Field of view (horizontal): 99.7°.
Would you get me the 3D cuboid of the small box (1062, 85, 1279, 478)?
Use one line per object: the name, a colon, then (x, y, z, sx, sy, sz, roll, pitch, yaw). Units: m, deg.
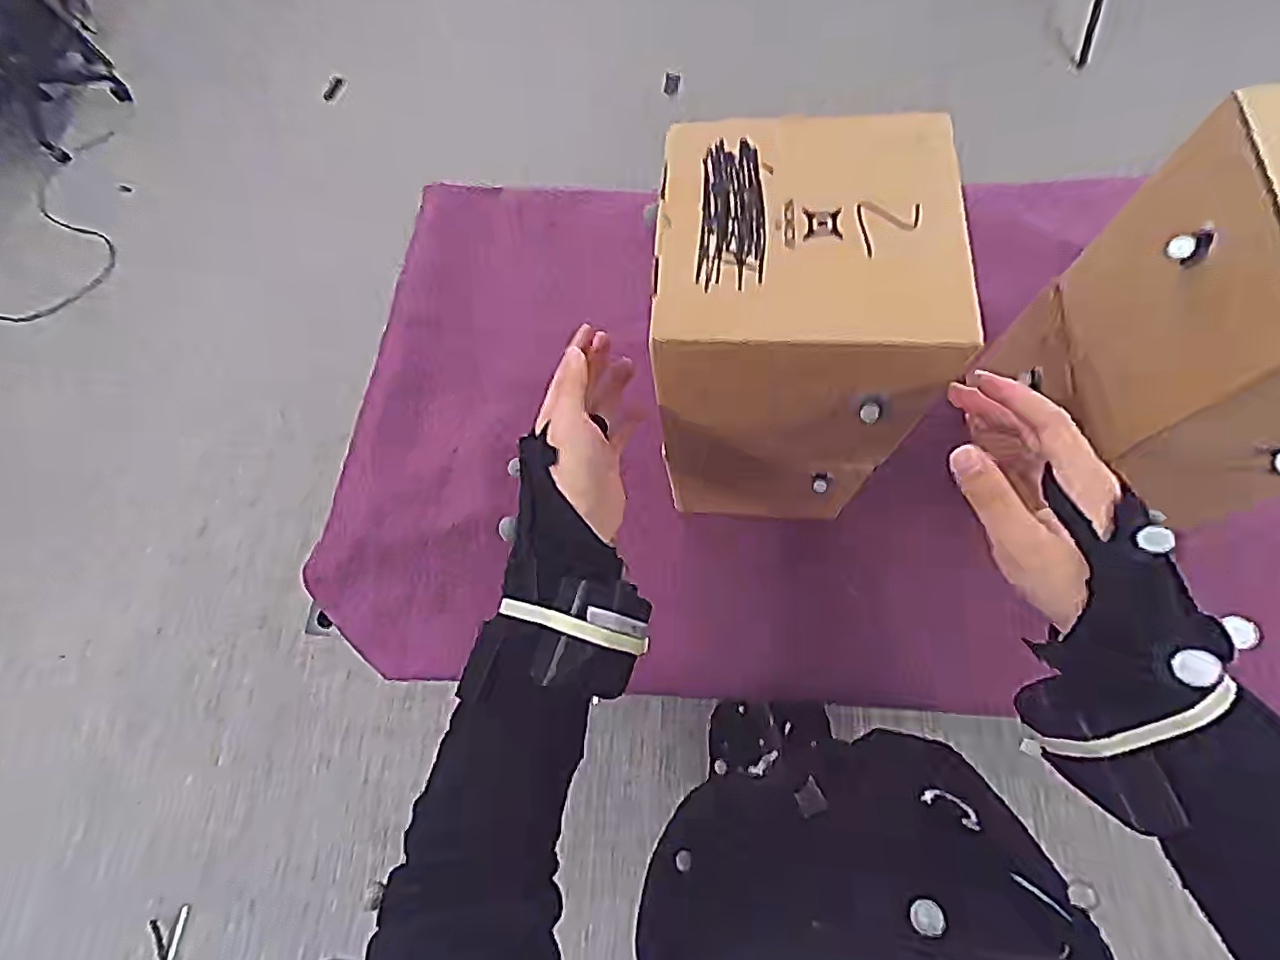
small box: (0.415, -0.114, 0.350, 0.168, 0.176, 0.179, 3, 71, 9)

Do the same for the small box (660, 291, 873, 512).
small box: (0.119, -0.069, 0.548, 0.179, 0.176, 0.168, 2, 71, 7)

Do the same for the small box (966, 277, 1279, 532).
small box: (0.429, -0.061, 0.506, 0.168, 0.176, 0.179, 4, 72, 8)
